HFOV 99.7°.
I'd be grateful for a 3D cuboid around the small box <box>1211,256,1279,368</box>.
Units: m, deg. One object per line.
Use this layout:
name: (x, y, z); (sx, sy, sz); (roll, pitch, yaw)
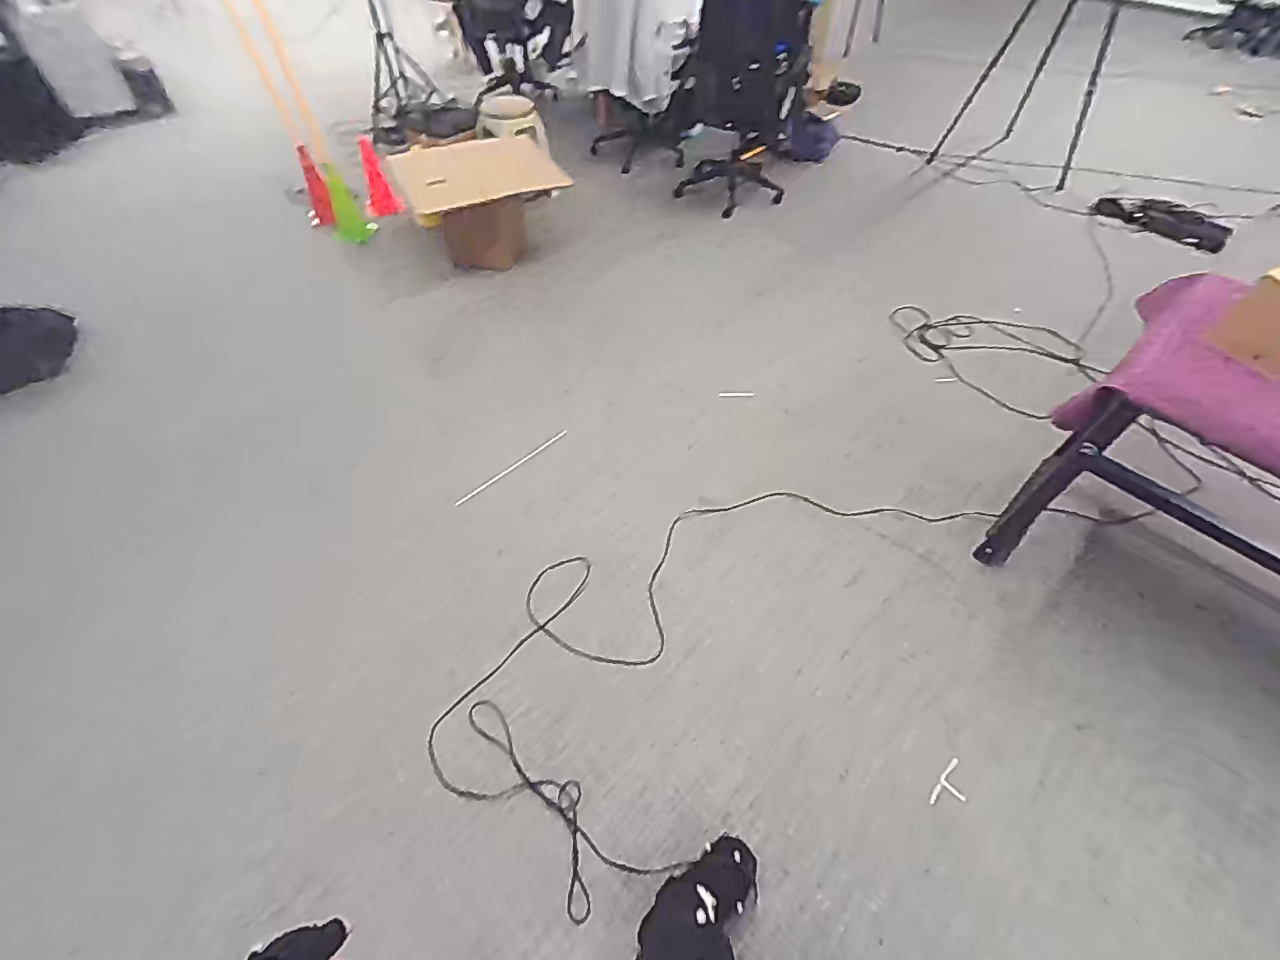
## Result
small box: (1.362, -0.356, 1.117); (0.179, 0.176, 0.168); (-19, 55, -16)
